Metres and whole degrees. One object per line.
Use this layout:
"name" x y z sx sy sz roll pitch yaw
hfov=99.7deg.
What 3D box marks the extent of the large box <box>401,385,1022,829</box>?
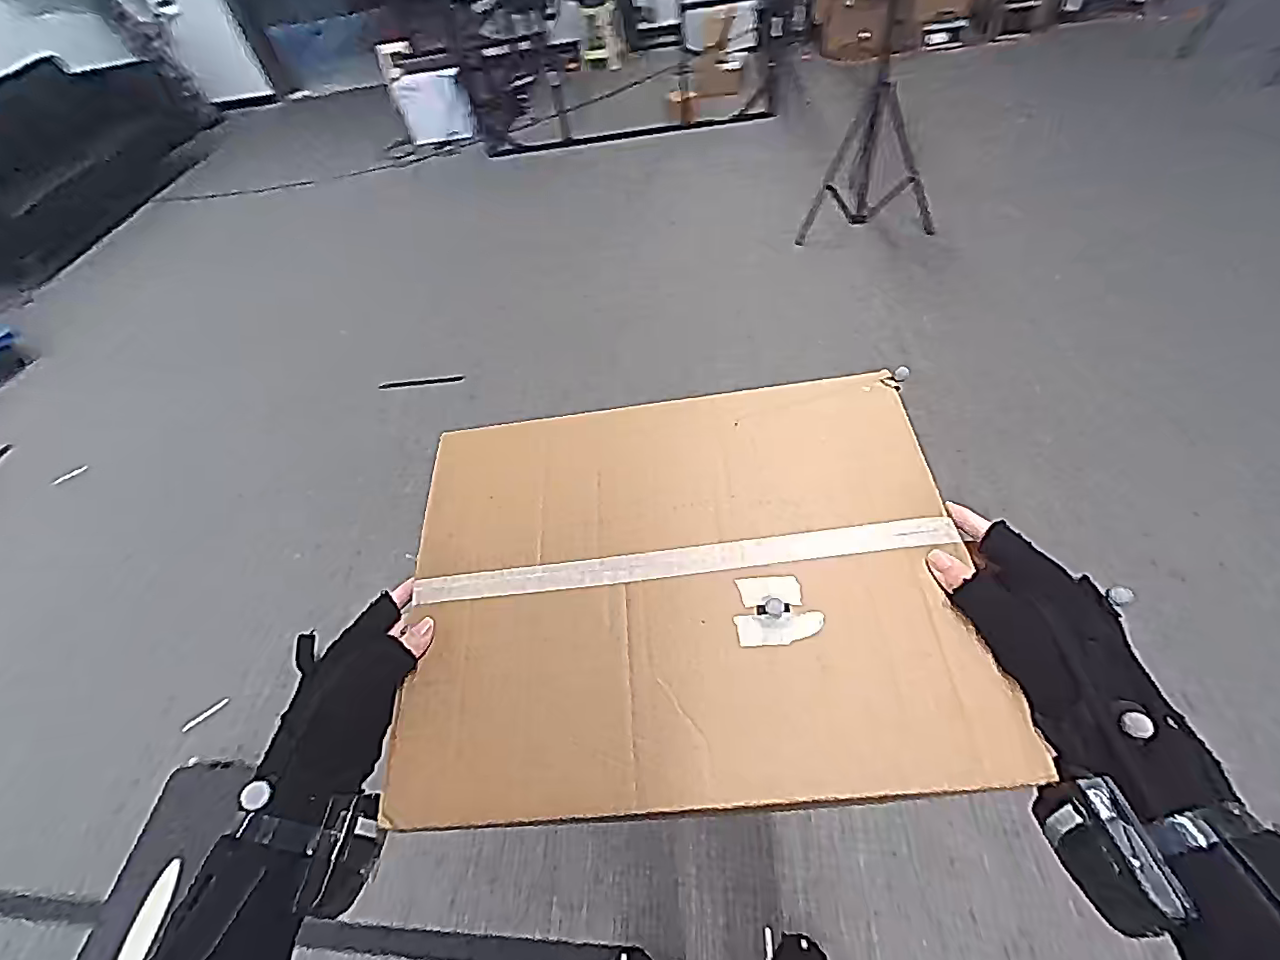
"large box" 0.044 0.148 0.543 0.408 0.320 0.320 -8 58 4
